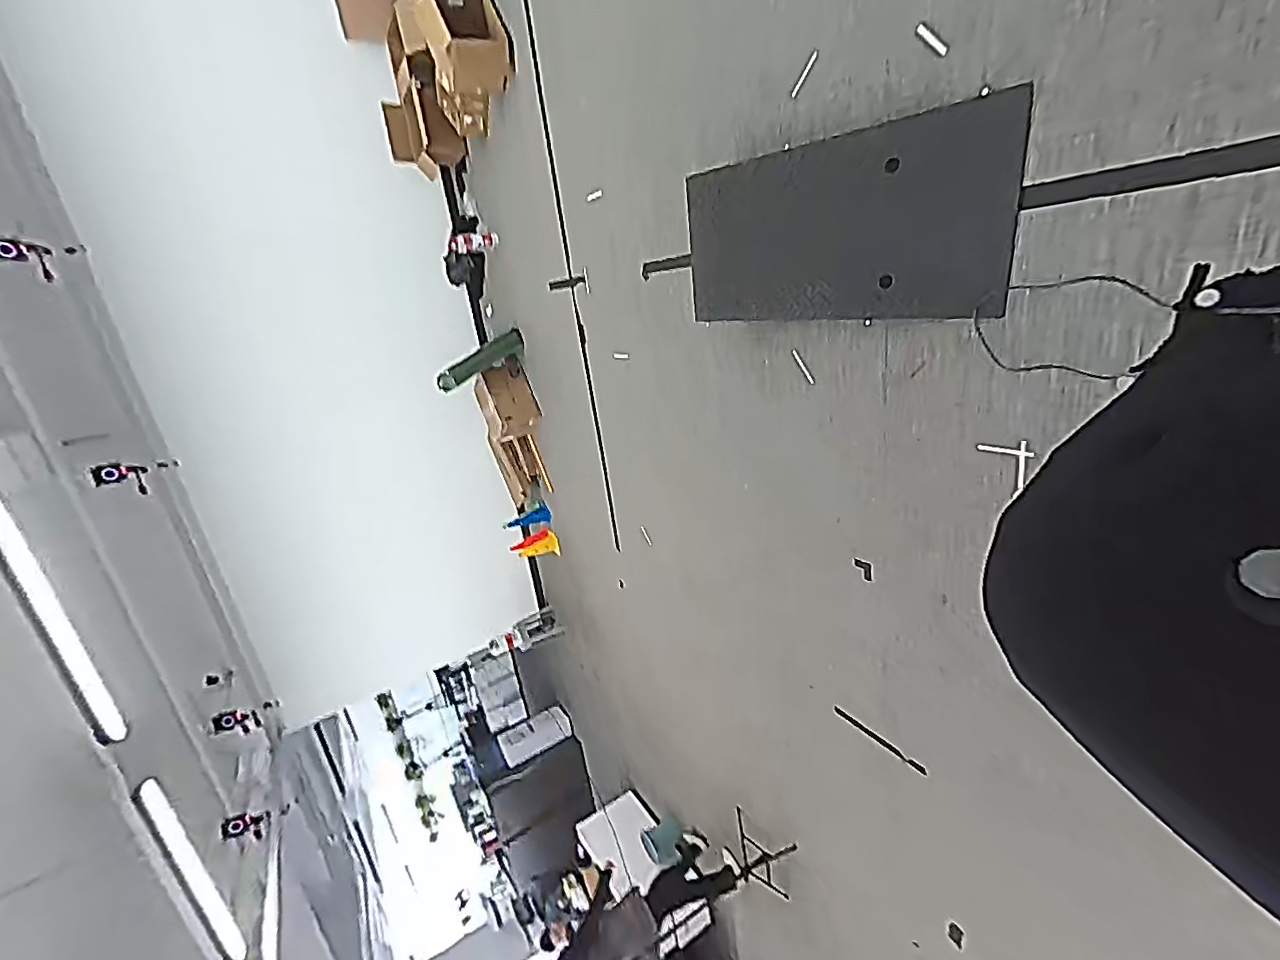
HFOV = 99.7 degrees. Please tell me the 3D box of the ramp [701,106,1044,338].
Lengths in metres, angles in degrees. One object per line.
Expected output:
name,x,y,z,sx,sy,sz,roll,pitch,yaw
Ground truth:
ramp,0.574,-0.680,1.608,0.991,0.206,0.509,21,122,56
